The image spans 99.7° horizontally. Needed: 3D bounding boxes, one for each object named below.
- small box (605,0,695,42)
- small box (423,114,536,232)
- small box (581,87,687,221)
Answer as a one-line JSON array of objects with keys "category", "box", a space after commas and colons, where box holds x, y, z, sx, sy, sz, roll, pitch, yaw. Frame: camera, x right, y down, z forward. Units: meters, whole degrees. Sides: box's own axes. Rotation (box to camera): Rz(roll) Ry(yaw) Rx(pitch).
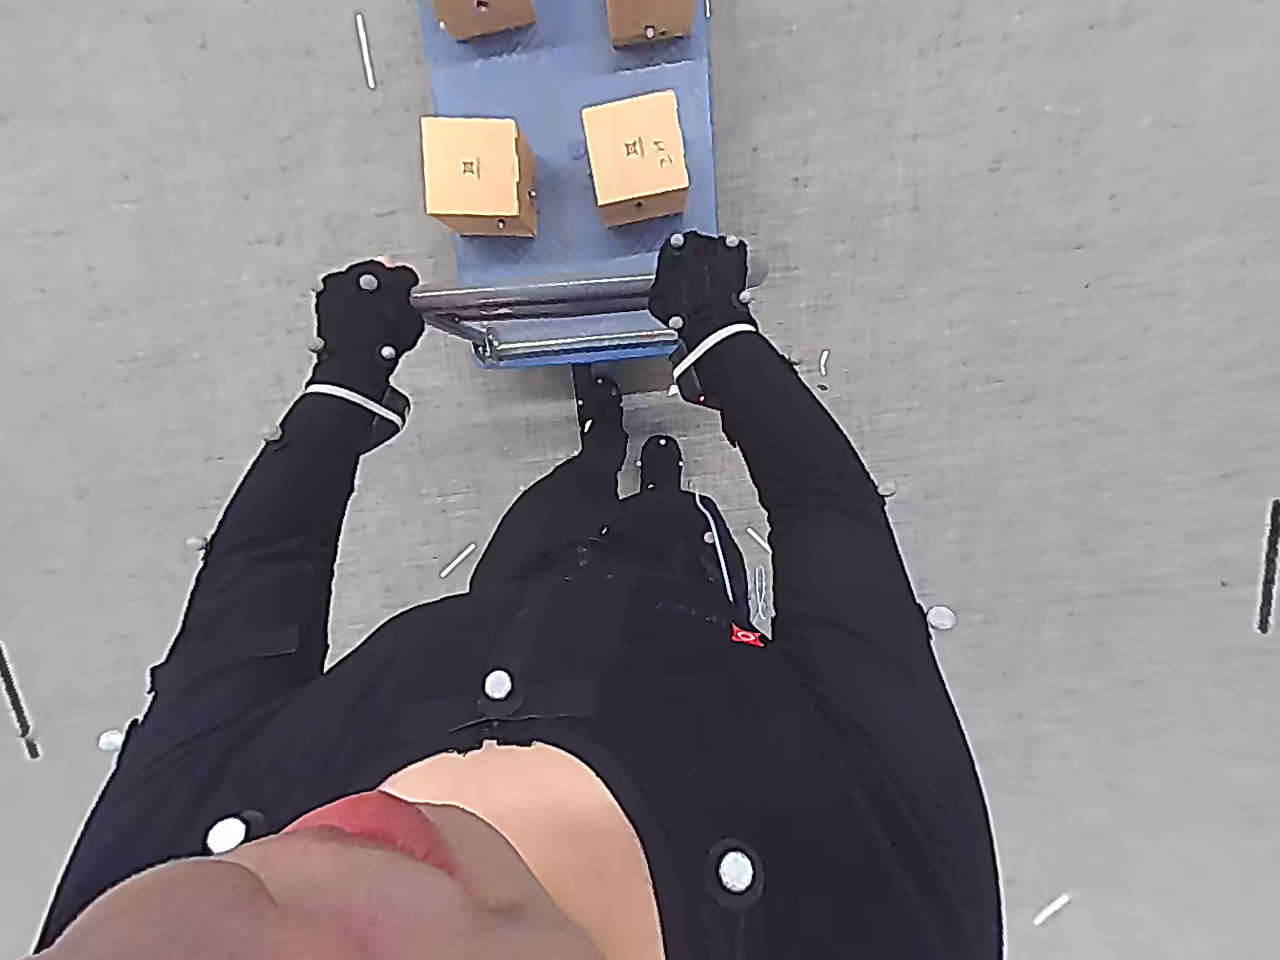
[{"category": "small box", "box": [0.011, -0.961, 0.995, 0.168, 0.176, 0.179, -7, 104, 3]}, {"category": "small box", "box": [-0.312, -0.604, 1.082, 0.179, 0.176, 0.168, 1, 102, -1]}, {"category": "small box", "box": [-0.007, -0.631, 1.069, 0.179, 0.176, 0.168, -10, 102, 3]}]
